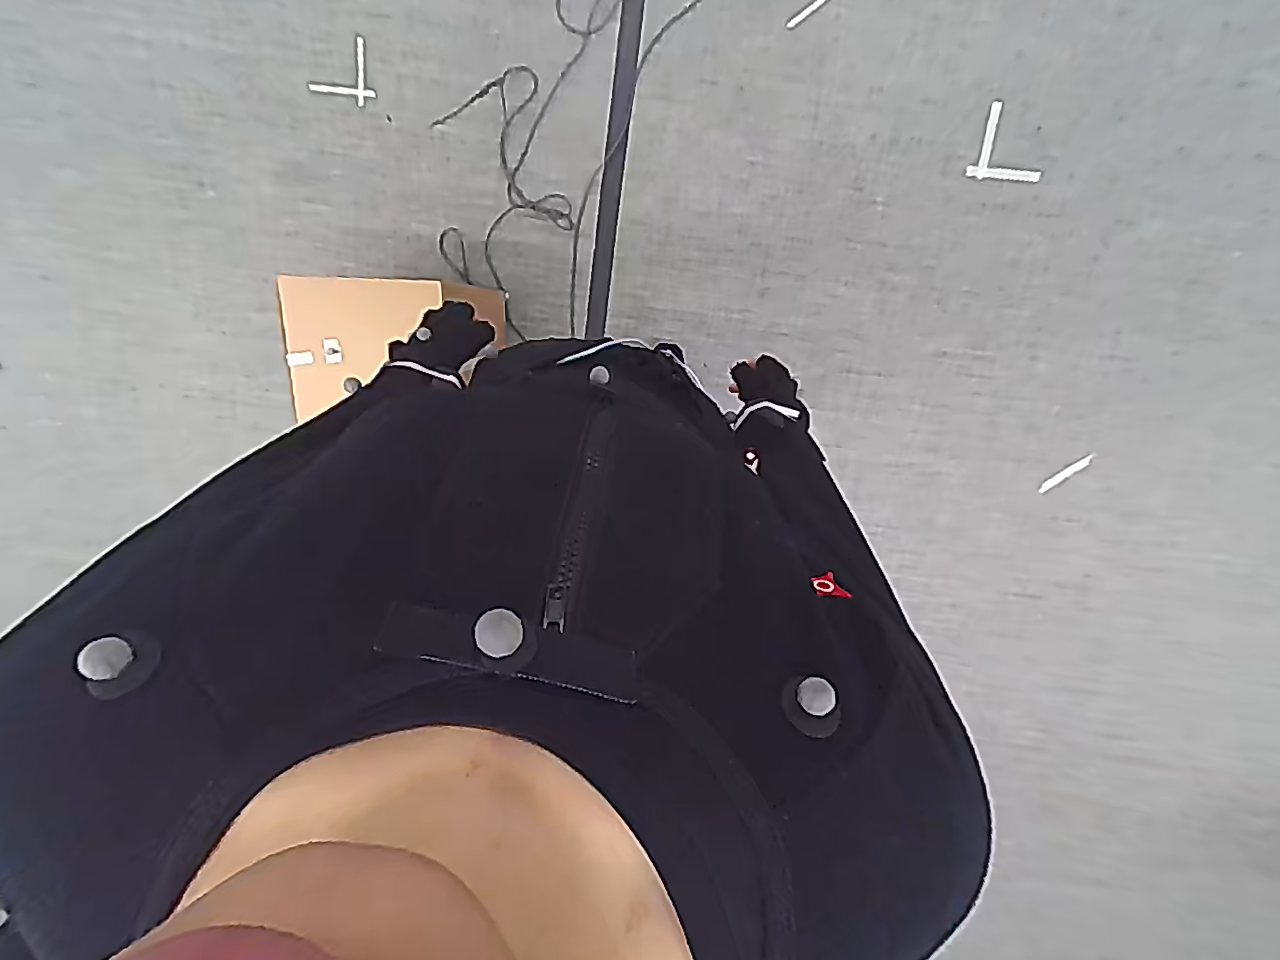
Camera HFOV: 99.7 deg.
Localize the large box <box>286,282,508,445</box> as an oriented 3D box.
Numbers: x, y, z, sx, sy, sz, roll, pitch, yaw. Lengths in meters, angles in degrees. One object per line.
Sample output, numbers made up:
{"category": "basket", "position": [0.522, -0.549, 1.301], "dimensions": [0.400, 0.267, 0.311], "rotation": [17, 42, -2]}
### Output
{"category": "large box", "position": [-0.513, -0.281, 1.234], "dimensions": [0.320, 0.408, 0.320], "rotation": [4, 107, 1]}
